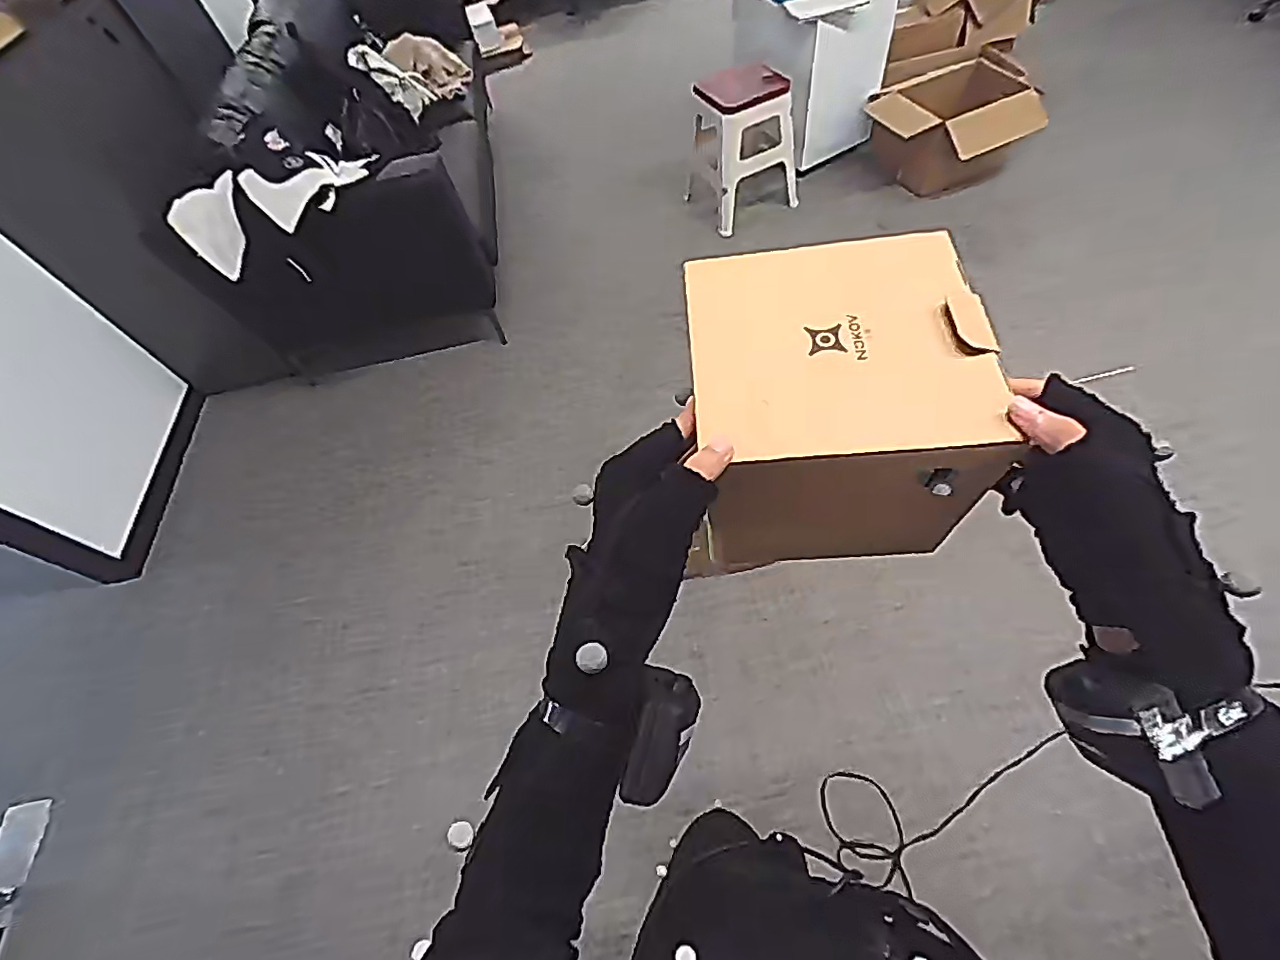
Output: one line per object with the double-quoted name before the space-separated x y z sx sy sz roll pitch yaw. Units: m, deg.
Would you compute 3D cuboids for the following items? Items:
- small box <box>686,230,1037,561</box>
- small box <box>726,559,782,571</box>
"small box" 0.131 -0.047 0.395 0.179 0.176 0.168 -5 62 7
"small box" 0.303 0.127 1.490 0.168 0.176 0.179 -14 56 1
